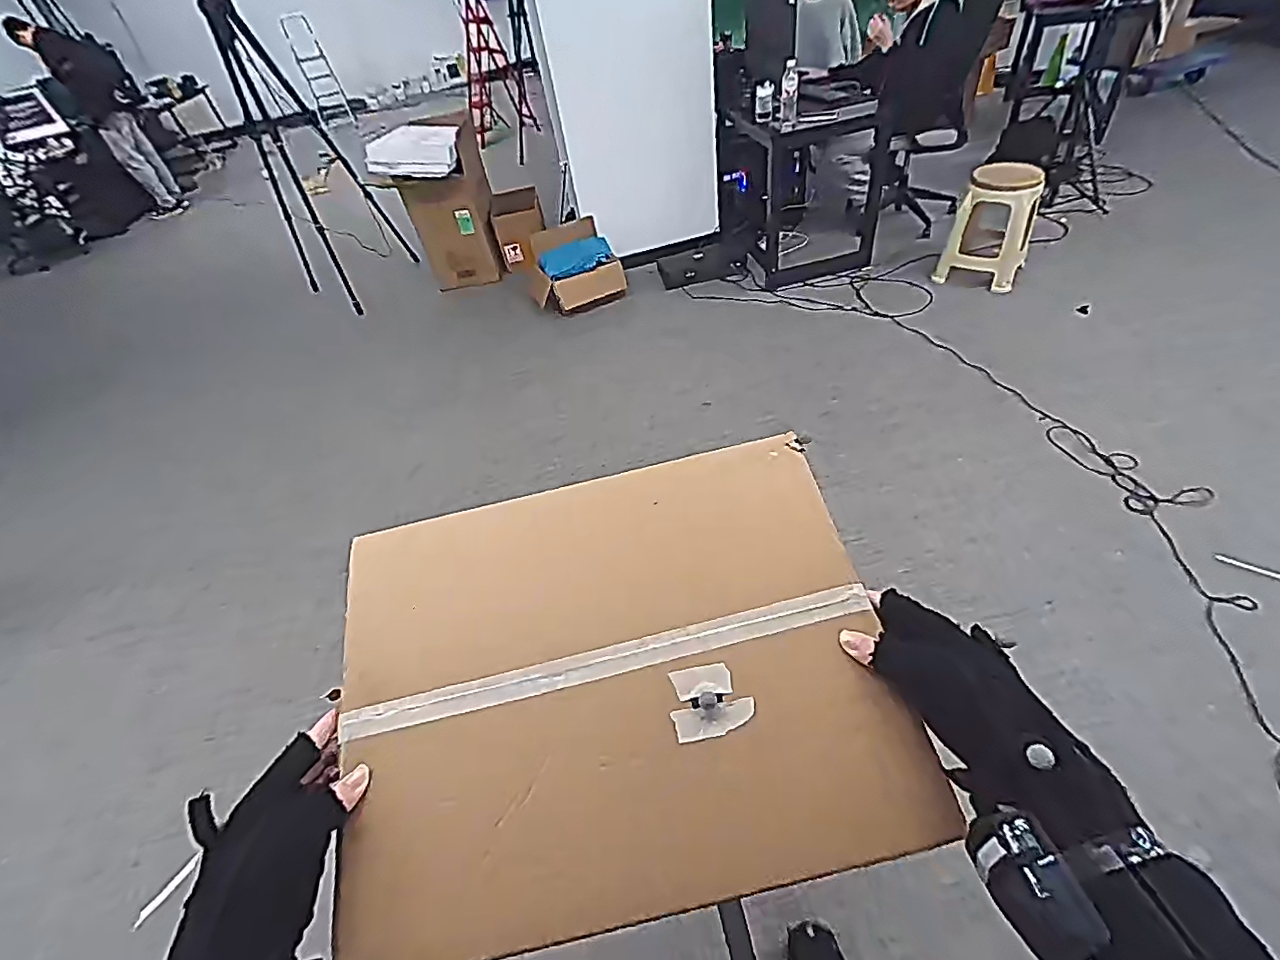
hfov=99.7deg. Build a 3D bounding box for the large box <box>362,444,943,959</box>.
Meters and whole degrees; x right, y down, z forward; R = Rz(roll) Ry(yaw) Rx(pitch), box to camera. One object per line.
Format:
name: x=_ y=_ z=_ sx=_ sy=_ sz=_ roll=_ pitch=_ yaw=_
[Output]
large box: x=-0.007 y=0.214 z=0.555 sx=0.408 sy=0.320 sz=0.320 roll=-14 pitch=61 yaw=-1
